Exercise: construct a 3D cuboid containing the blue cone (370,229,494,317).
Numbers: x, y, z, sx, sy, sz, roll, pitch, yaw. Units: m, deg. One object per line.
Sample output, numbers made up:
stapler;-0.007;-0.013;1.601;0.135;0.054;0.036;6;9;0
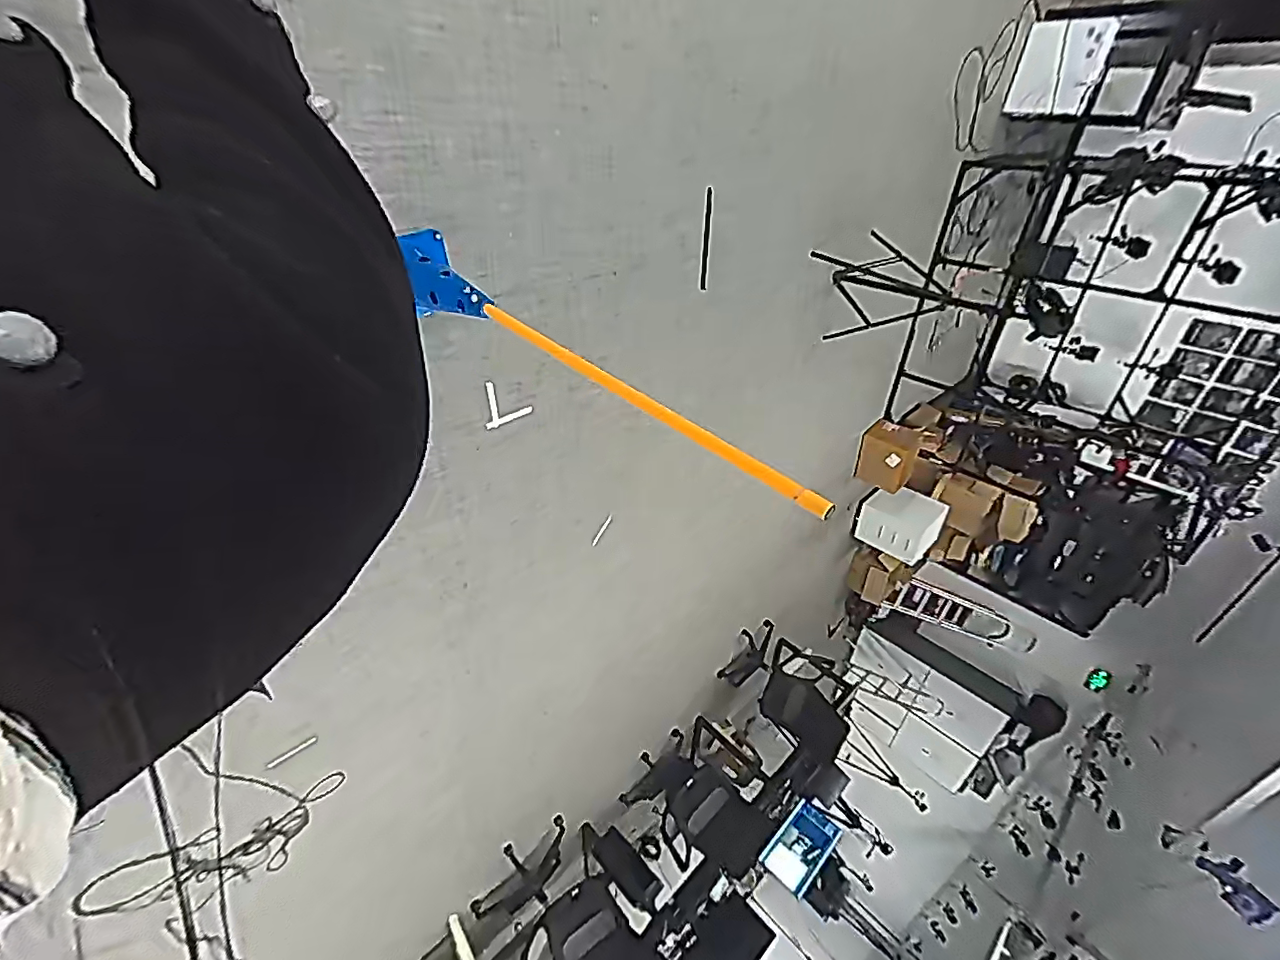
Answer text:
blue cone;-0.457;-0.458;1.280;0.193;0.380;0.192;-31;135;-33
